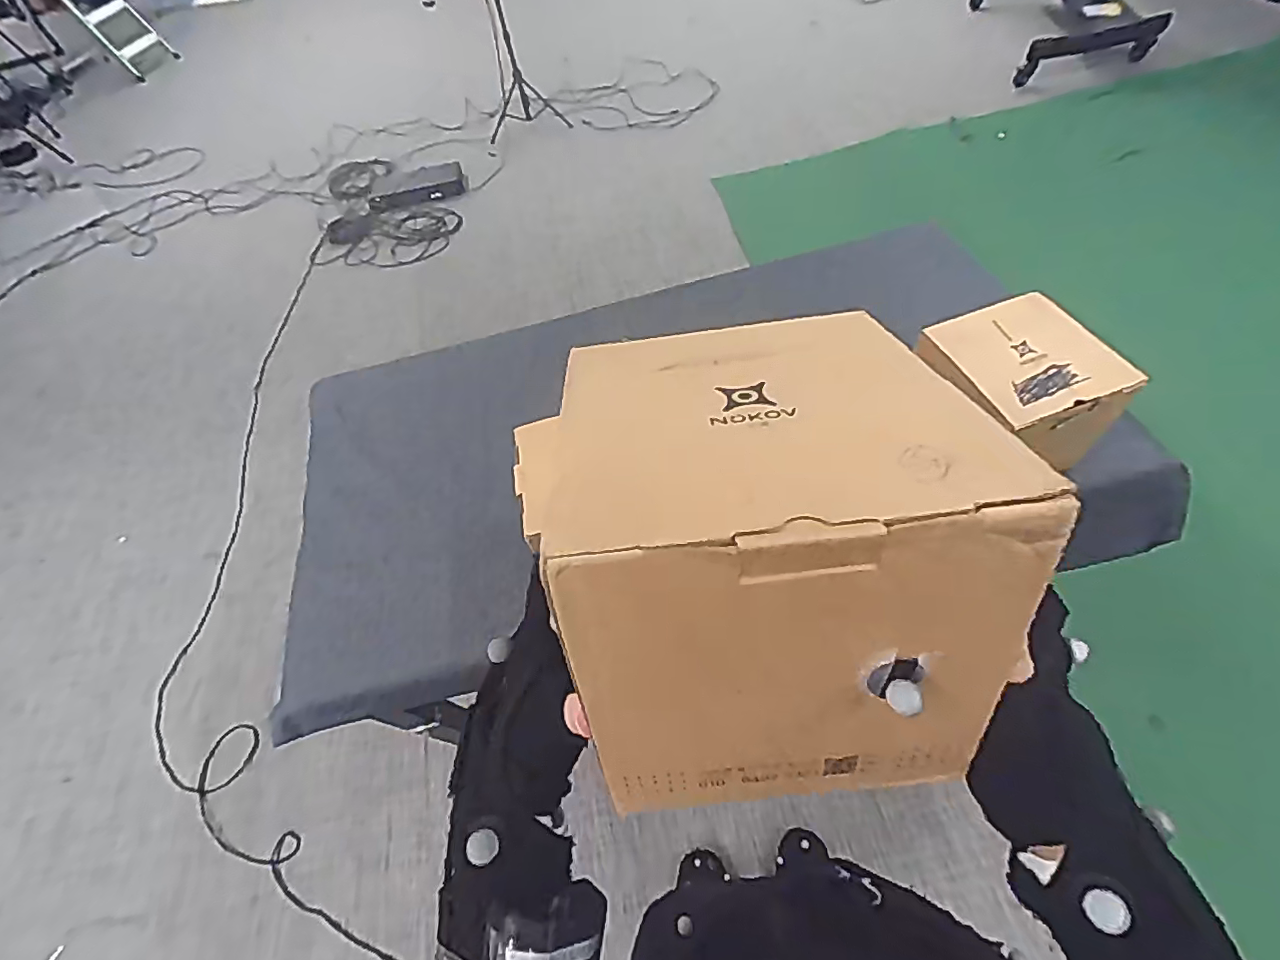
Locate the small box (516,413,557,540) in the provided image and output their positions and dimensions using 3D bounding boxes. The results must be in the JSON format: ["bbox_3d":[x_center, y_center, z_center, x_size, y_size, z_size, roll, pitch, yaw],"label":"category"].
[{"bbox_3d":[-0.049,0.019,0.710,0.179,0.176,0.168,-13,55,0],"label":"small box"}]

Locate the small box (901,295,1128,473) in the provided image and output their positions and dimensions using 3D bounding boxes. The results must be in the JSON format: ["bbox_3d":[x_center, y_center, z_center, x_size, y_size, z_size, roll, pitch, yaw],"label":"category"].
[{"bbox_3d":[0.462,-0.105,0.716,0.168,0.176,0.179,-18,56,-3],"label":"small box"}]

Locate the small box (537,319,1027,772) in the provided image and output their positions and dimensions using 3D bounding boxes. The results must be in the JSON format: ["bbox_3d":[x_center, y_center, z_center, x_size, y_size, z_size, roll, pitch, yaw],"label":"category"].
[{"bbox_3d":[0.051,0.032,0.289,0.168,0.176,0.179,-6,34,1],"label":"small box"}]
